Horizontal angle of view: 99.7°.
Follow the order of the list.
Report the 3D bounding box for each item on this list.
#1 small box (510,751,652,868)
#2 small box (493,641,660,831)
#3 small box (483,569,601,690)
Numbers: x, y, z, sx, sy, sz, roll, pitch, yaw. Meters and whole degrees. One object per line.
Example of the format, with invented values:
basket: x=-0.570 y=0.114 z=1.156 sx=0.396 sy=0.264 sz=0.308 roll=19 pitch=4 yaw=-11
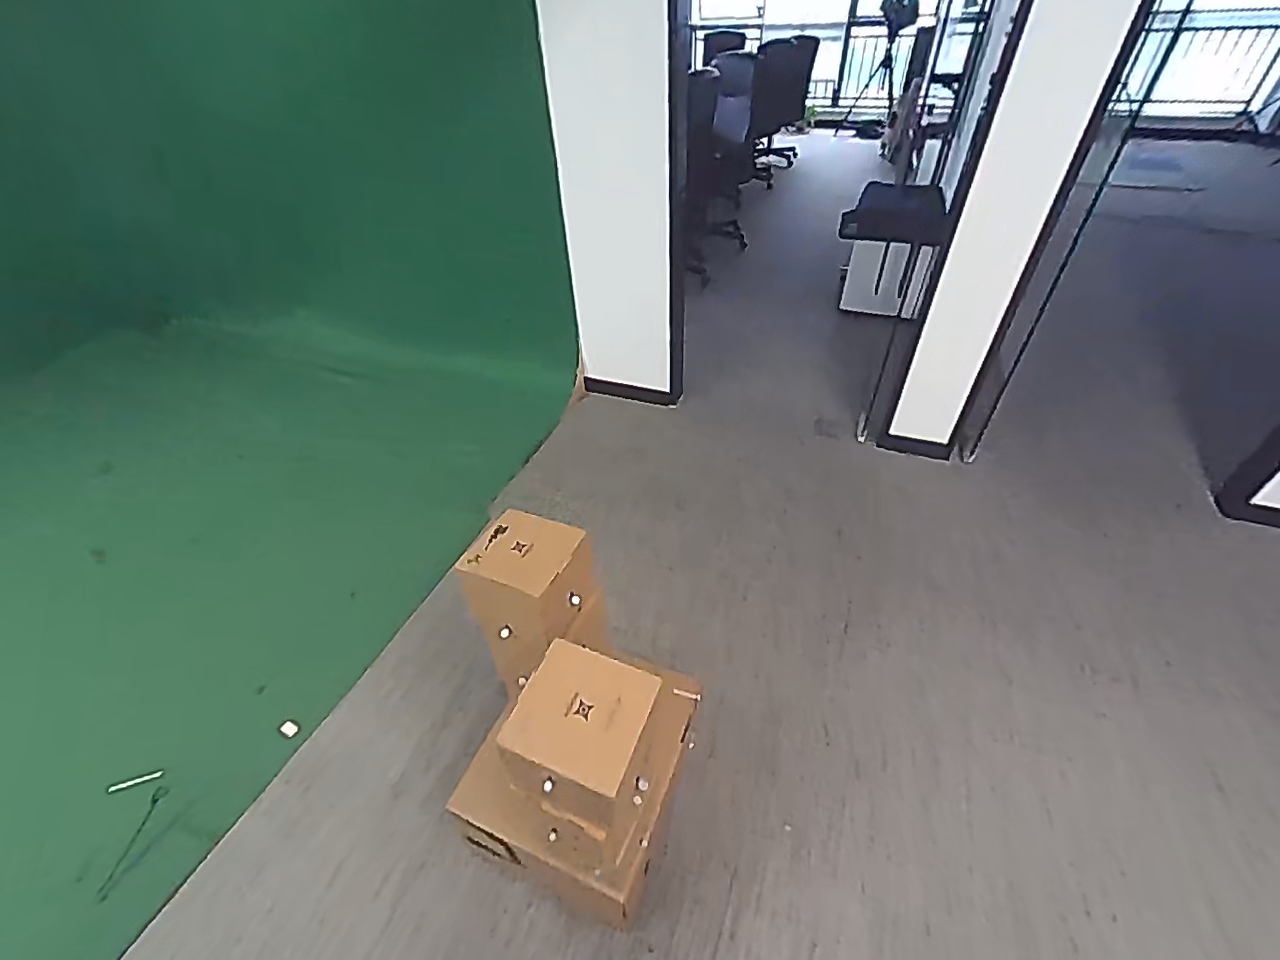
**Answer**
small box: x=-0.088 y=0.491 z=0.892 sx=0.168 sy=0.176 sz=0.179 roll=18 pitch=46 yaw=20
small box: x=-0.082 y=0.371 z=0.782 sx=0.179 sy=0.176 sz=0.168 roll=16 pitch=46 yaw=16
small box: x=-0.189 y=0.318 z=1.098 sx=0.168 sy=0.176 sz=0.179 roll=16 pitch=42 yaw=20
